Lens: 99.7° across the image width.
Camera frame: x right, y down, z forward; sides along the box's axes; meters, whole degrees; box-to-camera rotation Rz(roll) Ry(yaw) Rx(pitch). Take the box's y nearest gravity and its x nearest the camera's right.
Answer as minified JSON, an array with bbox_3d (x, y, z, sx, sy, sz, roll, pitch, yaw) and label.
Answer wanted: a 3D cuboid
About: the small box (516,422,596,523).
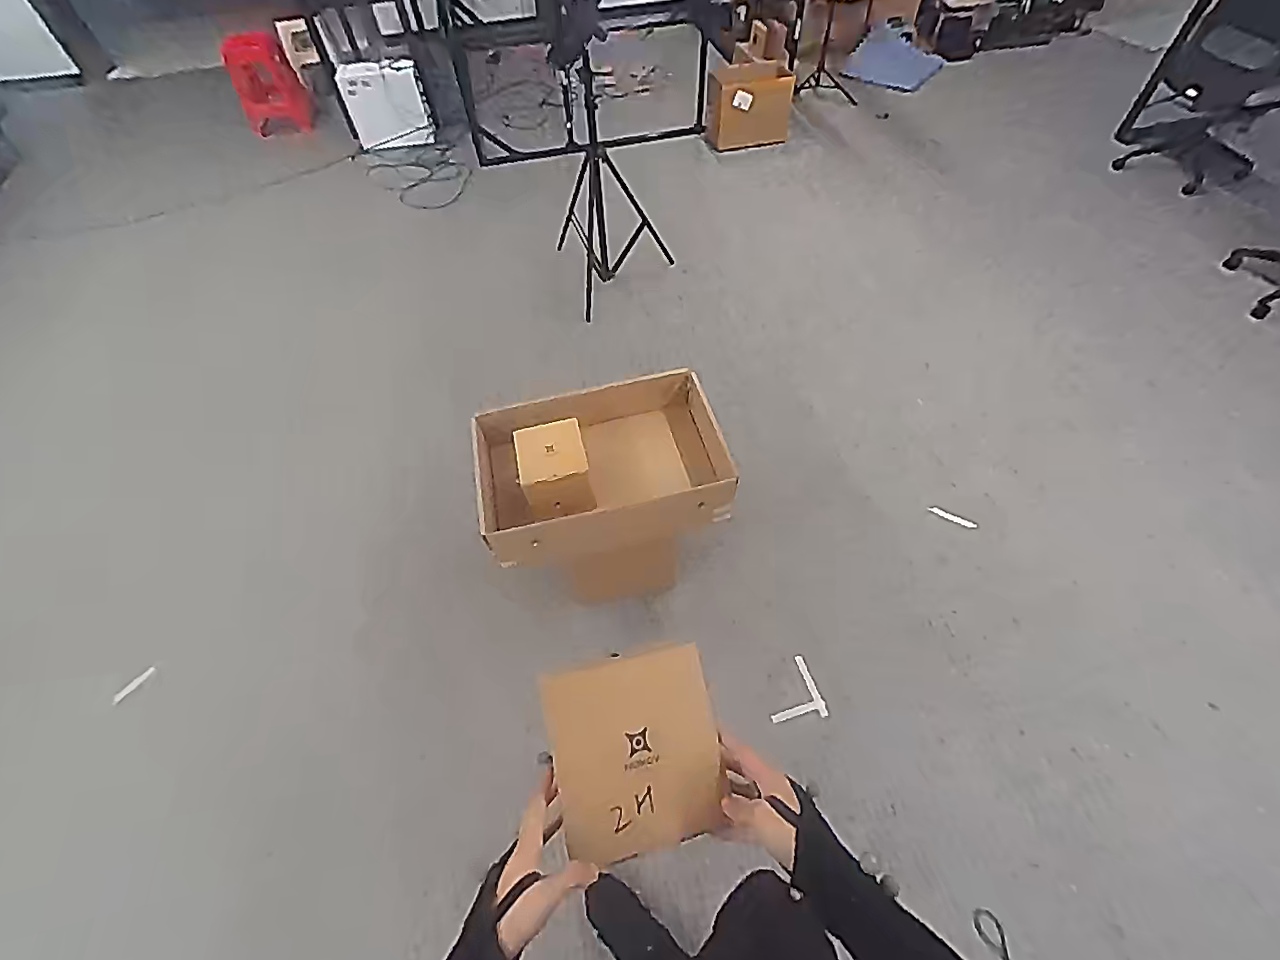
[{"bbox_3d":[-0.213,-0.018,1.384,0.168,0.176,0.179,-13,56,-6],"label":"small box"}]

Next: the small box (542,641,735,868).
[{"bbox_3d":[-0.016,0.288,0.611,0.168,0.176,0.179,-9,76,-14],"label":"small box"}]
